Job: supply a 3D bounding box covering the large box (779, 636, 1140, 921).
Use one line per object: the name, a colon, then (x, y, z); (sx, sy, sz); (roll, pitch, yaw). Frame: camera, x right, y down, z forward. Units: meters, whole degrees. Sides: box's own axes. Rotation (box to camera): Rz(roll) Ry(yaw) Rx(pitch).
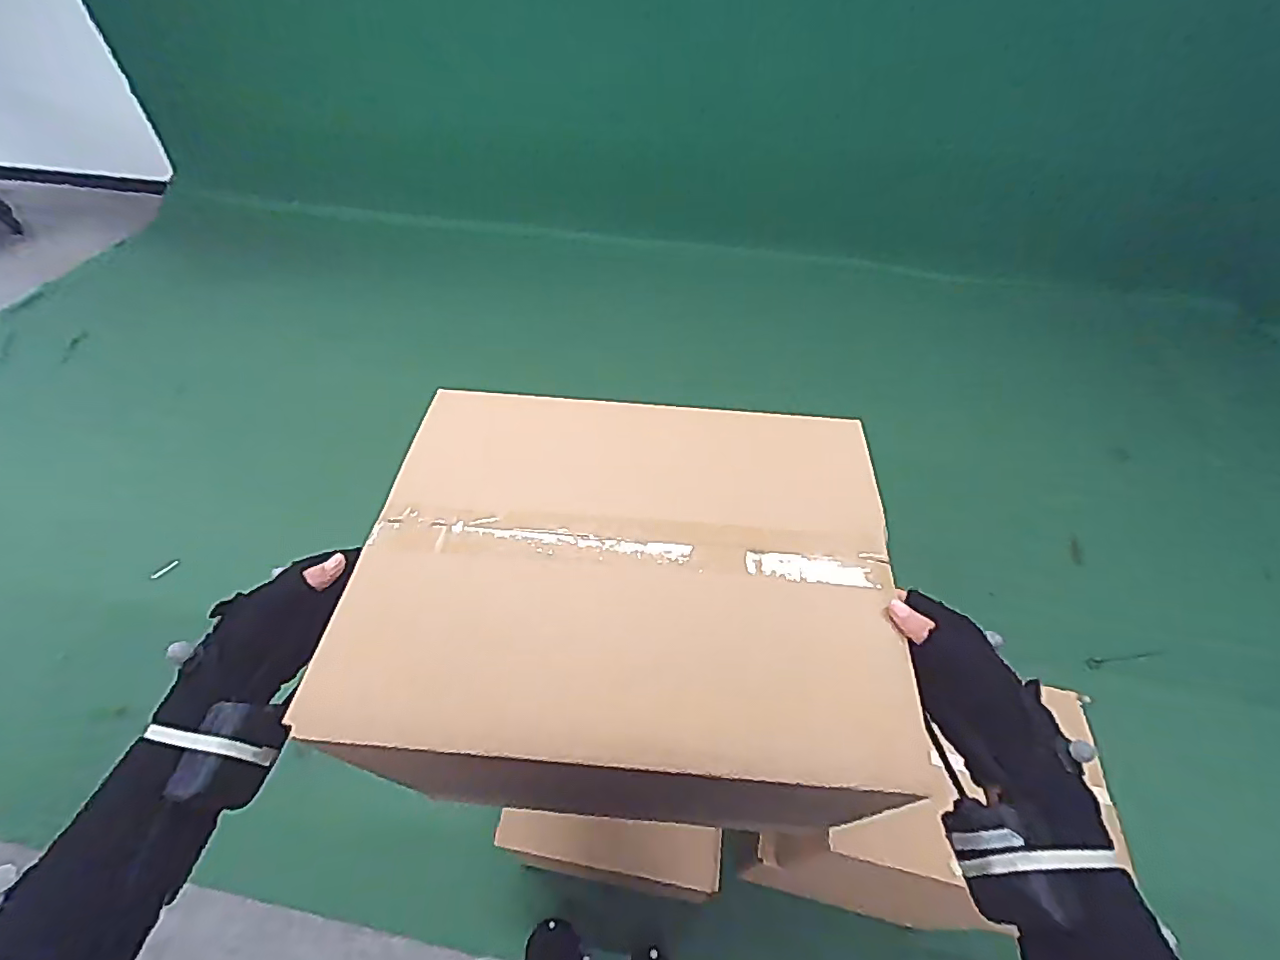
large box: (0.472, 0.508, 0.919); (0.408, 0.320, 0.320); (11, 51, 6)
